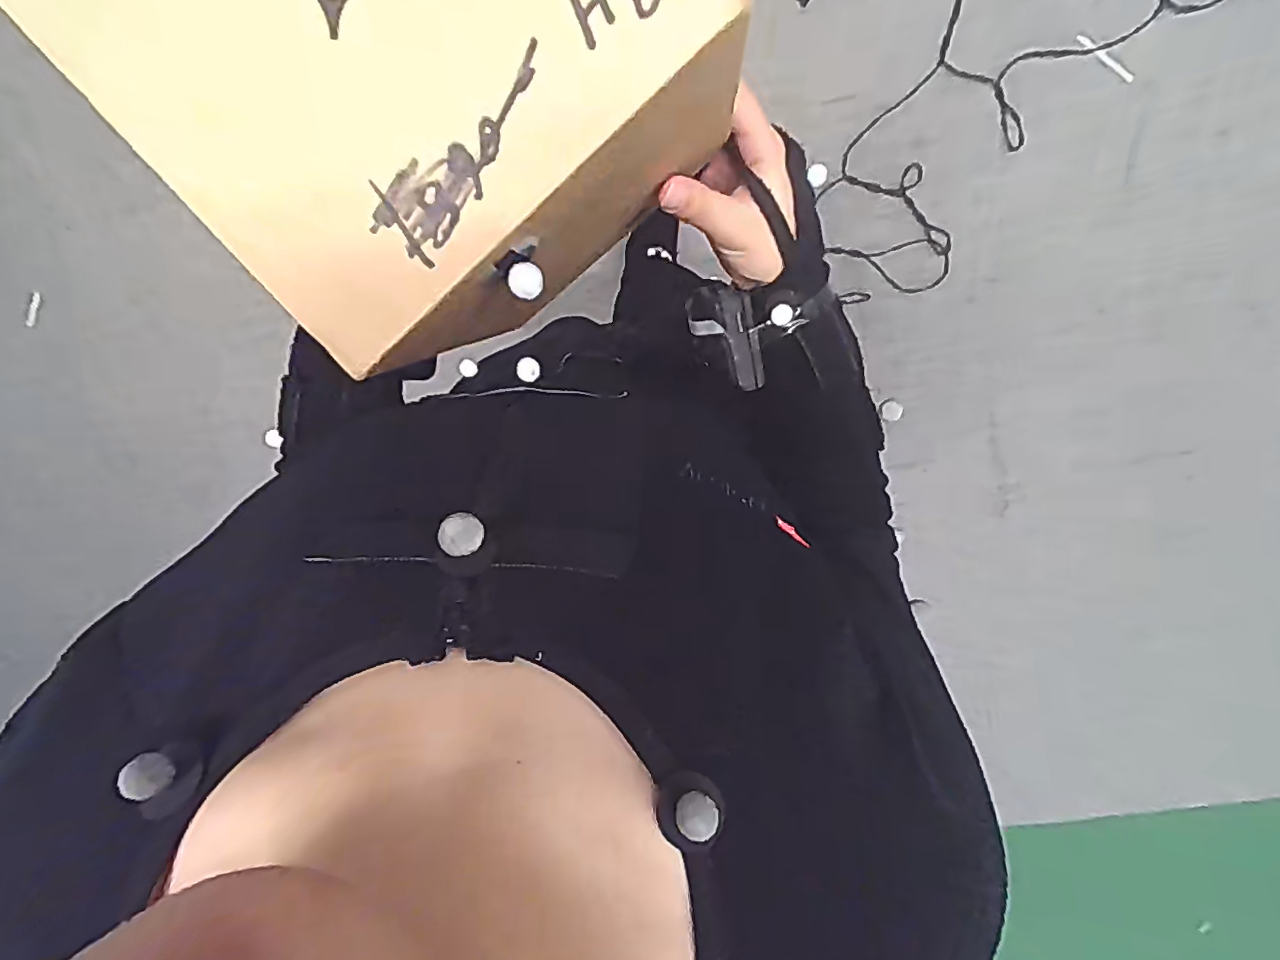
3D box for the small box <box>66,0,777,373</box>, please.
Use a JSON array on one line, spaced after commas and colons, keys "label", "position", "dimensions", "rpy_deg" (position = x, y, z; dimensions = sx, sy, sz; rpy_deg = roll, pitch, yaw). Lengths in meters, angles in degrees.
[{"label": "small box", "position": [-0.067, -0.172, 0.232], "dimensions": [0.168, 0.176, 0.179], "rpy_deg": [-35, 103, 17]}]
